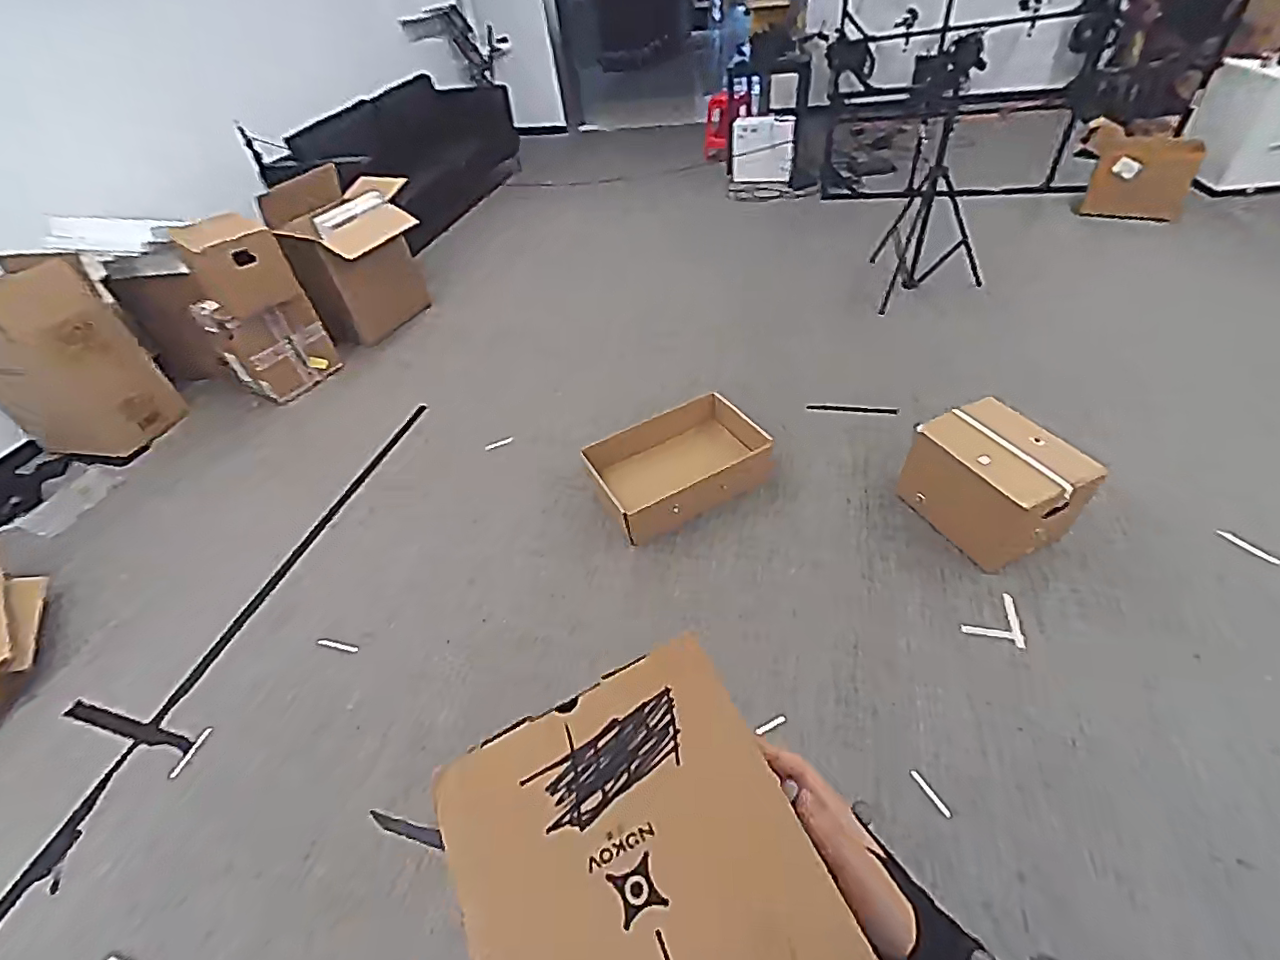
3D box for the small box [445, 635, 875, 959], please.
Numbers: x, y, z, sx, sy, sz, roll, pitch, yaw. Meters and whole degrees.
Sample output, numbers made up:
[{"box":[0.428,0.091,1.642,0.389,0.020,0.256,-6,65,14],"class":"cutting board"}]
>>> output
[{"box":[0.009,0.229,0.333,0.168,0.176,0.179,-26,59,-6],"class":"small box"}]
